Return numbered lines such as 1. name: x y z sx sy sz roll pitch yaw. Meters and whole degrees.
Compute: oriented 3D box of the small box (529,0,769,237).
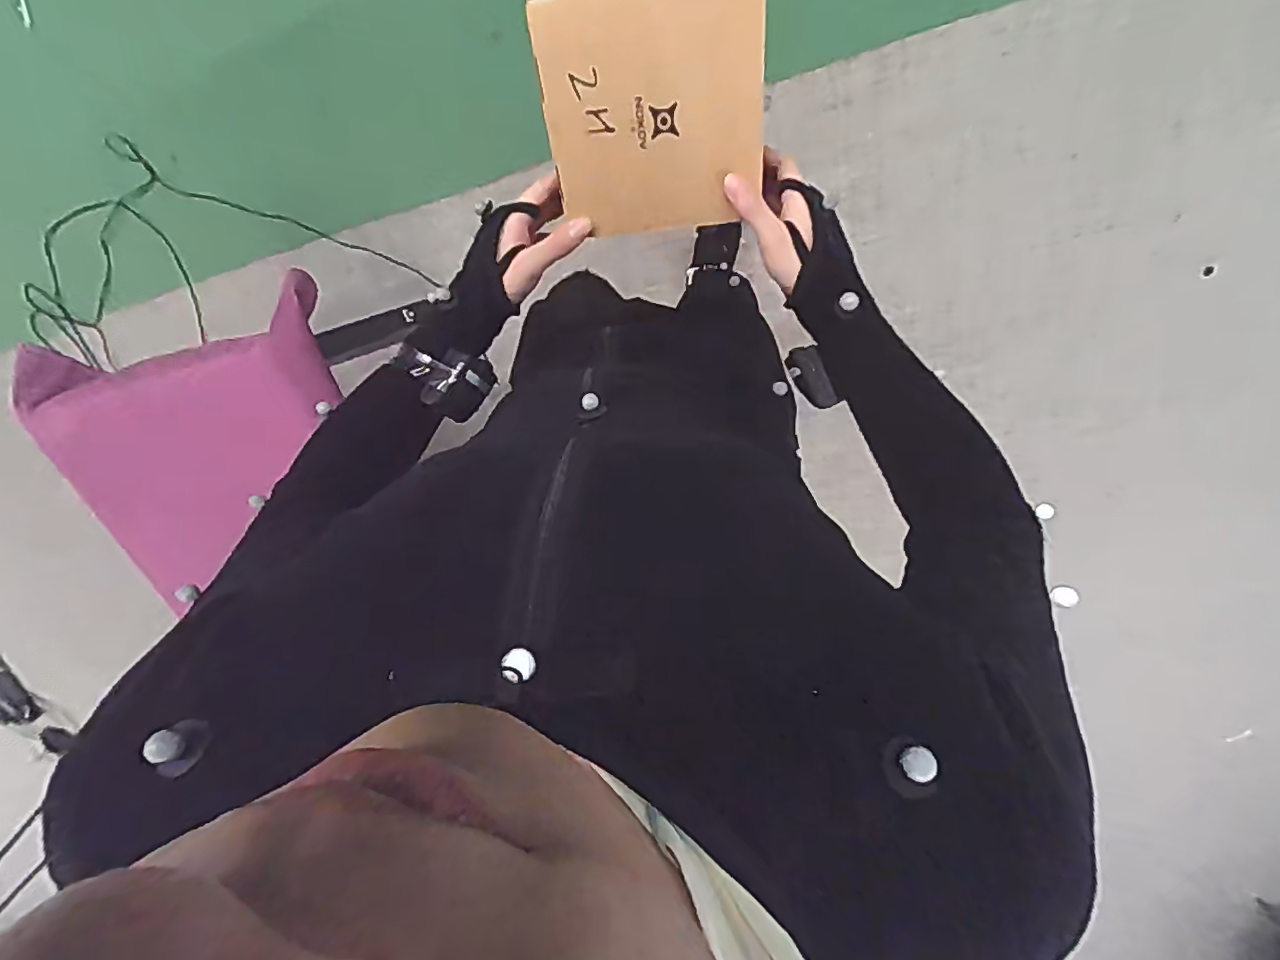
1. small box: 0.018 -0.338 0.493 0.179 0.176 0.168 -3 128 8
